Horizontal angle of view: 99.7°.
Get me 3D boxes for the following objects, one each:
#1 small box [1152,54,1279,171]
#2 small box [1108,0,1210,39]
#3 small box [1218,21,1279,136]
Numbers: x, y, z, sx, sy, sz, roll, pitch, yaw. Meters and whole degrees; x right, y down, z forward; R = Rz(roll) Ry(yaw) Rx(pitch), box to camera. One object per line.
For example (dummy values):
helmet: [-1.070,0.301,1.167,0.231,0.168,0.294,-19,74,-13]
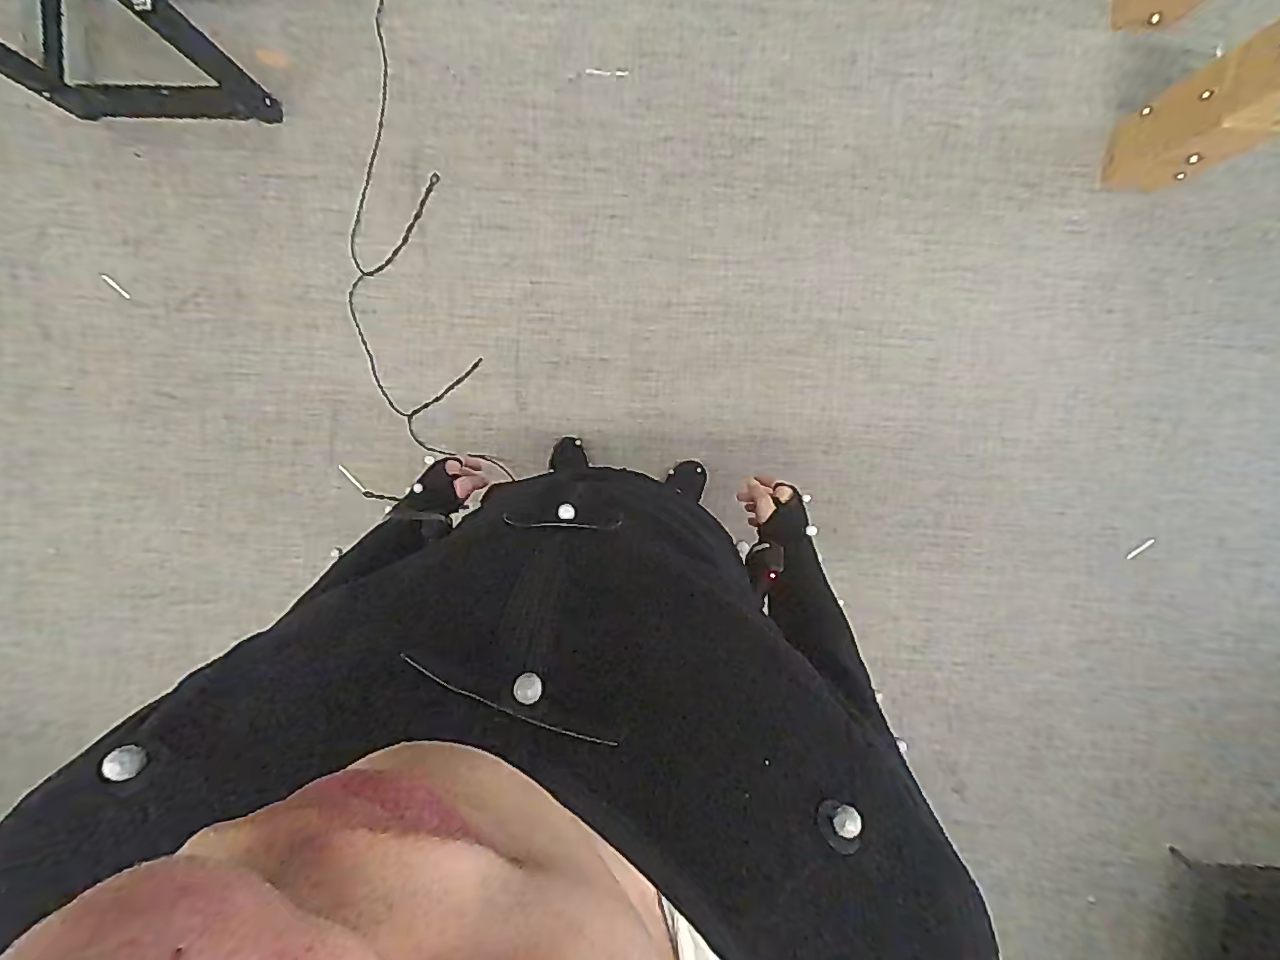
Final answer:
small box: [1.429,-0.902,1.338,0.168,0.176,0.179,4,95,0]
small box: [1.429,-1.359,1.472,0.168,0.176,0.179,2,95,0]
small box: [1.433,-0.888,1.177,0.168,0.176,0.179,8,93,0]
